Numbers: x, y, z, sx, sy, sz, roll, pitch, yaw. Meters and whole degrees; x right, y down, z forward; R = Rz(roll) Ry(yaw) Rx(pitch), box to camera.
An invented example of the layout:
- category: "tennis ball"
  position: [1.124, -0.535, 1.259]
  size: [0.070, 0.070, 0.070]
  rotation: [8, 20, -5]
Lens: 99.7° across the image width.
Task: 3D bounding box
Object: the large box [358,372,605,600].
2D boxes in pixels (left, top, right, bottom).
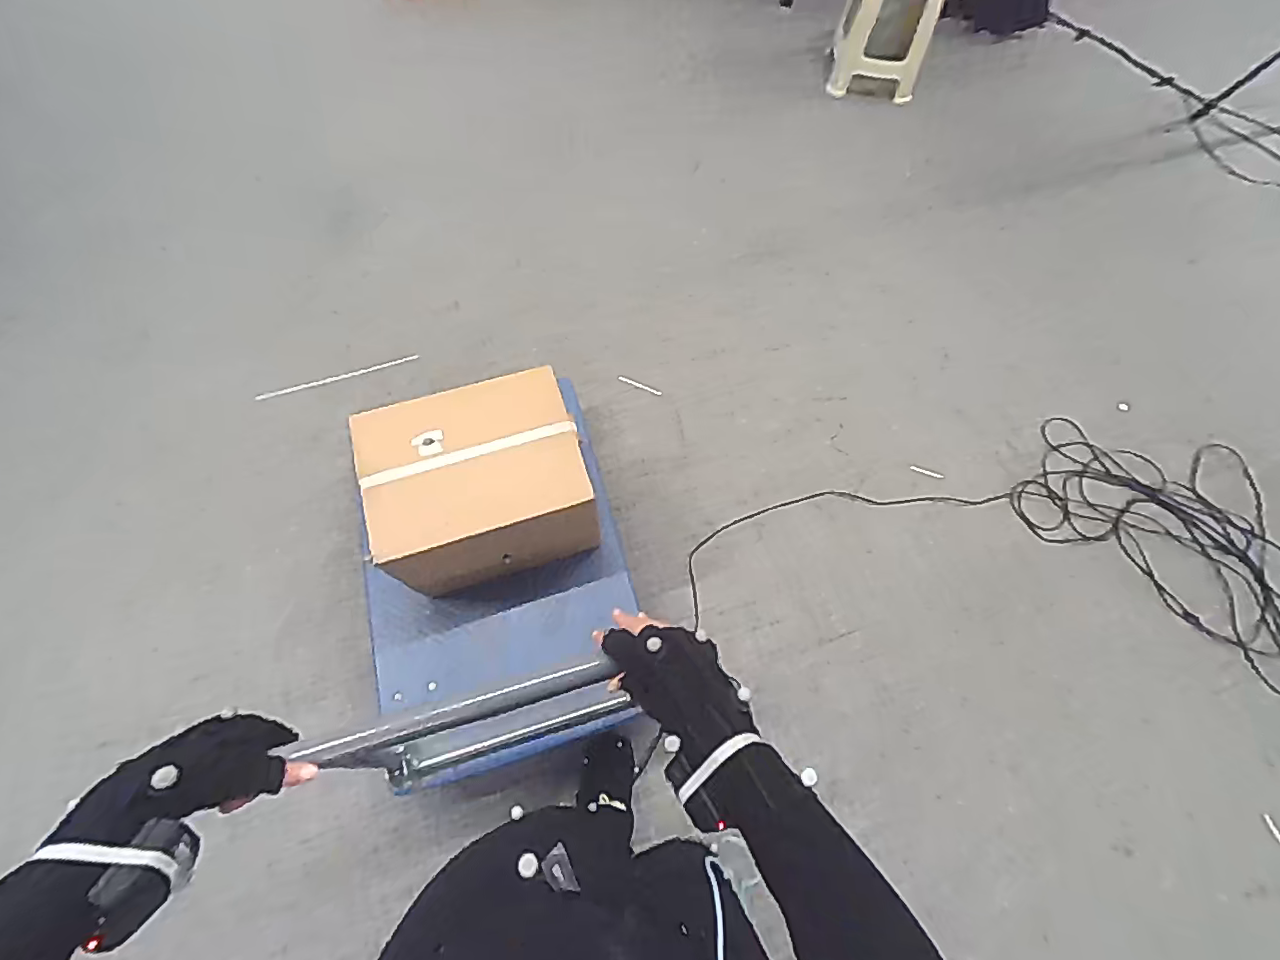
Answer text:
- category: "large box"
  position: [-0.314, 0.026, 1.165]
  size: [0.408, 0.320, 0.320]
  rotation: [-18, 68, -9]
